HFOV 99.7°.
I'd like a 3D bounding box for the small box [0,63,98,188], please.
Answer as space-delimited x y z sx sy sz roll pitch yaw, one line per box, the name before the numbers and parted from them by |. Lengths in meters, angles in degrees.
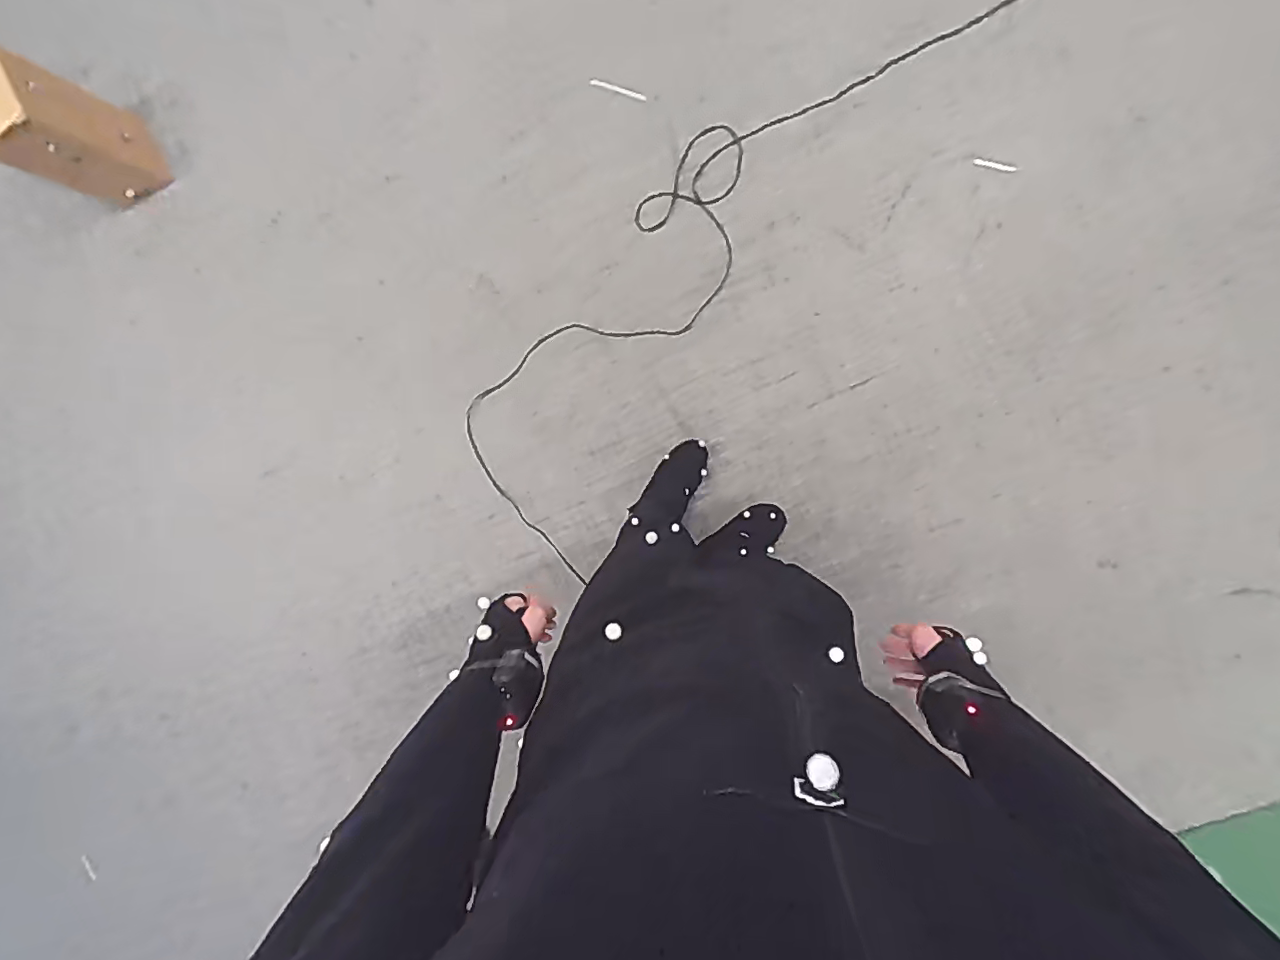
small box | -1.386 -0.787 1.206 0.168 0.176 0.179 -25 92 7
